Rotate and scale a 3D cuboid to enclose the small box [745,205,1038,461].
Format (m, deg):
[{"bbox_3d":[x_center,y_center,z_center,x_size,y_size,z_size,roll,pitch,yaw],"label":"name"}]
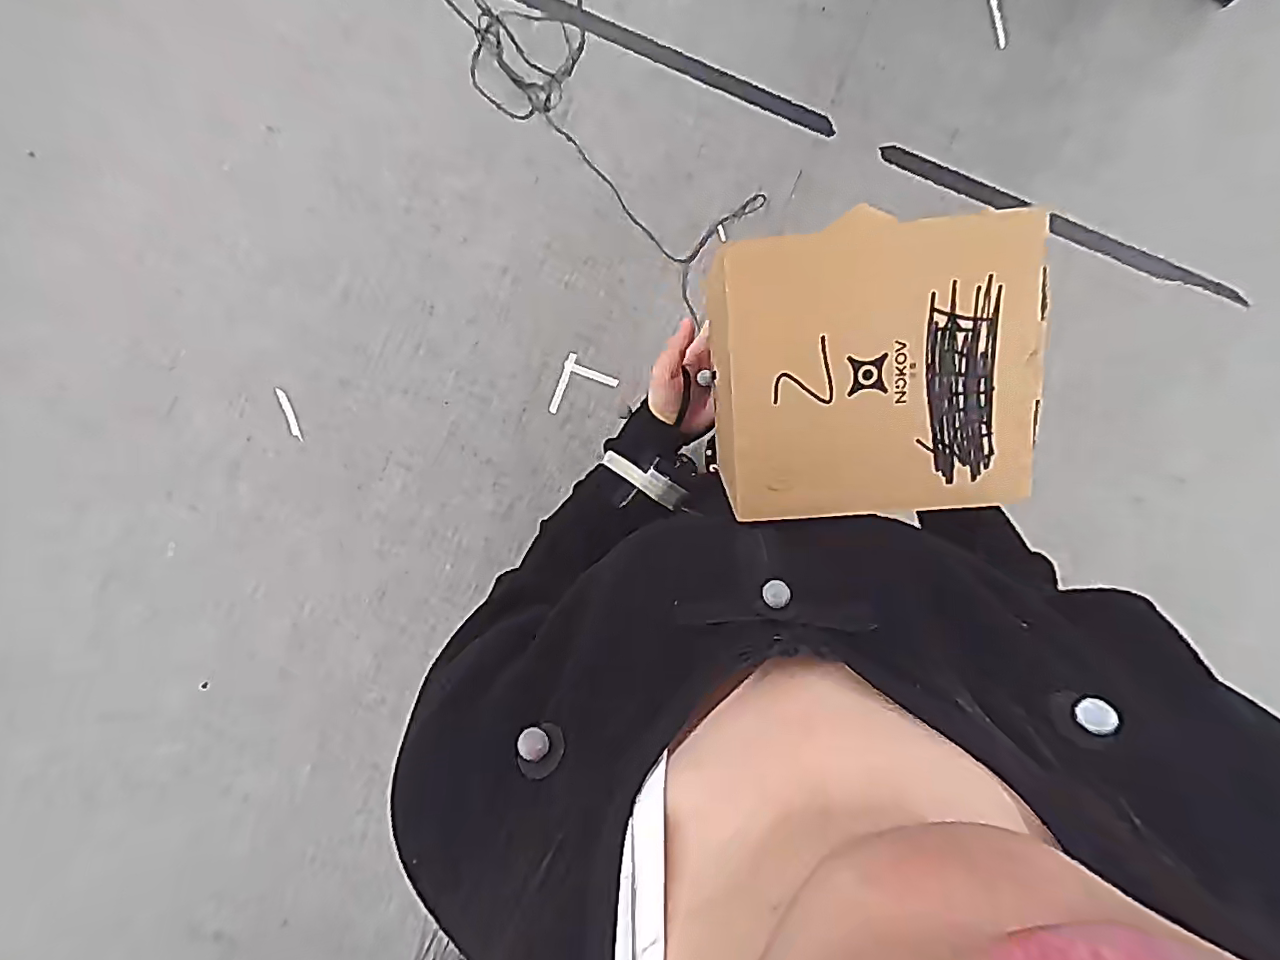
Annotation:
[{"bbox_3d":[0.229,-0.139,0.544,0.179,0.176,0.168,24,100,-4],"label":"small box"}]
